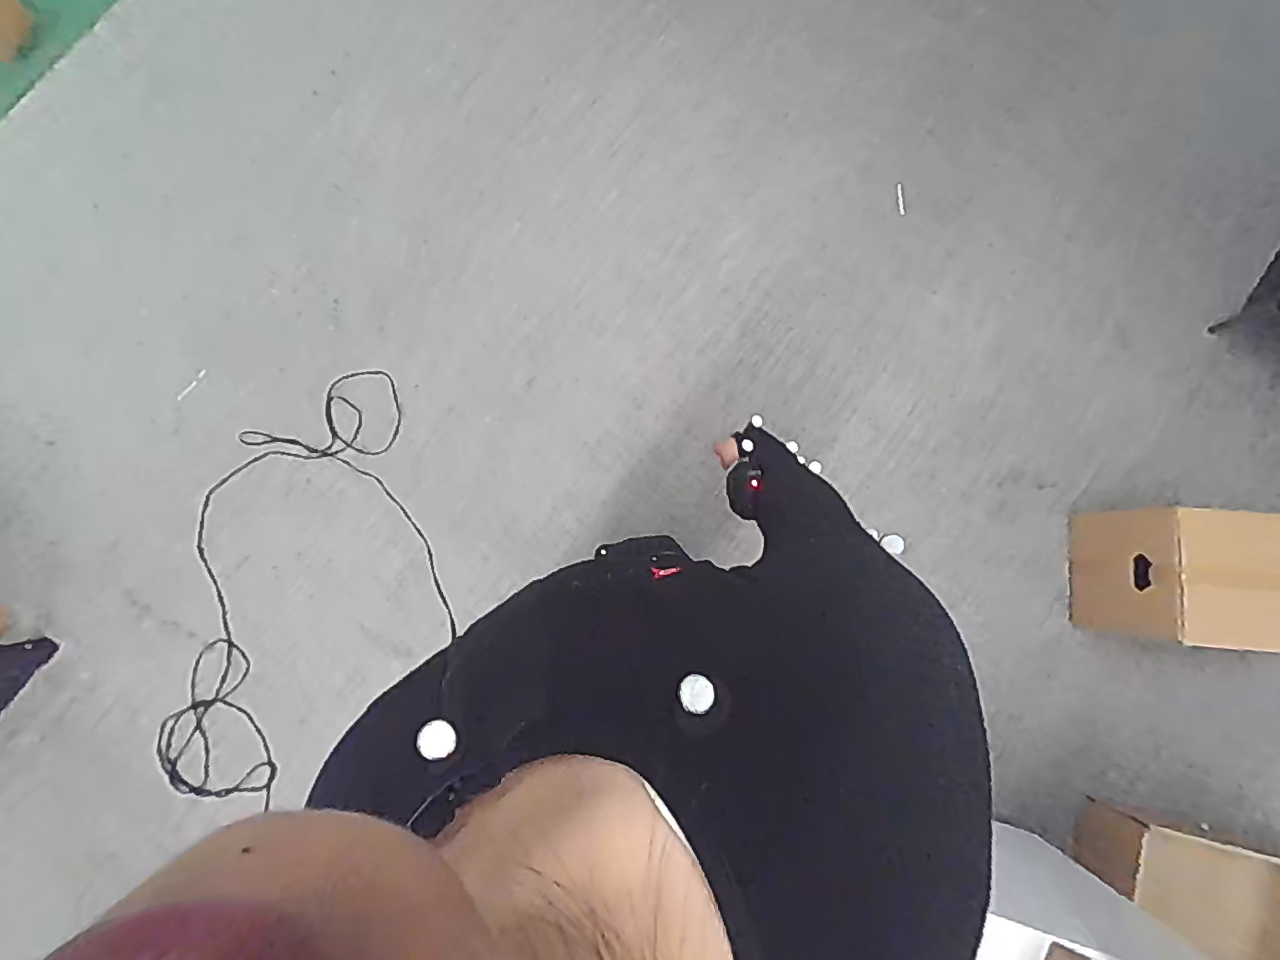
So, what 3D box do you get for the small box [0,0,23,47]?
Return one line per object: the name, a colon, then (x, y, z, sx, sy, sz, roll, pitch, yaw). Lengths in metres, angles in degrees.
small box: (-1.945, -1.380, 1.537, 0.168, 0.176, 0.179, 21, 82, 0)
